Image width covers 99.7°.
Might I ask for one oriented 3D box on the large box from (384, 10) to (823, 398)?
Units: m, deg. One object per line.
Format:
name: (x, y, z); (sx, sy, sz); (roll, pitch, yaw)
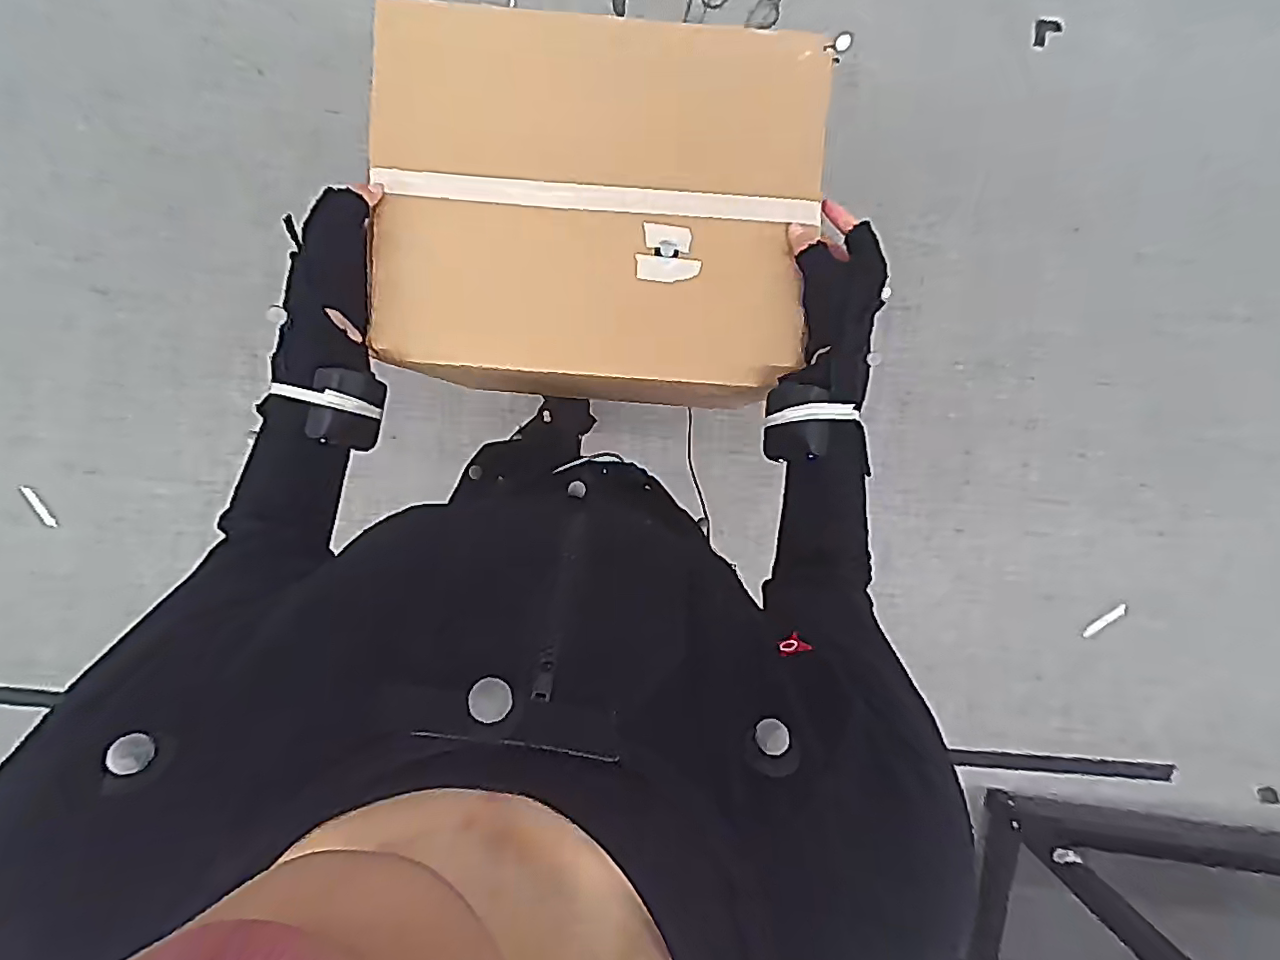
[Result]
large box: (-0.042, -0.275, 0.653); (0.408, 0.320, 0.320); (4, 95, -2)
